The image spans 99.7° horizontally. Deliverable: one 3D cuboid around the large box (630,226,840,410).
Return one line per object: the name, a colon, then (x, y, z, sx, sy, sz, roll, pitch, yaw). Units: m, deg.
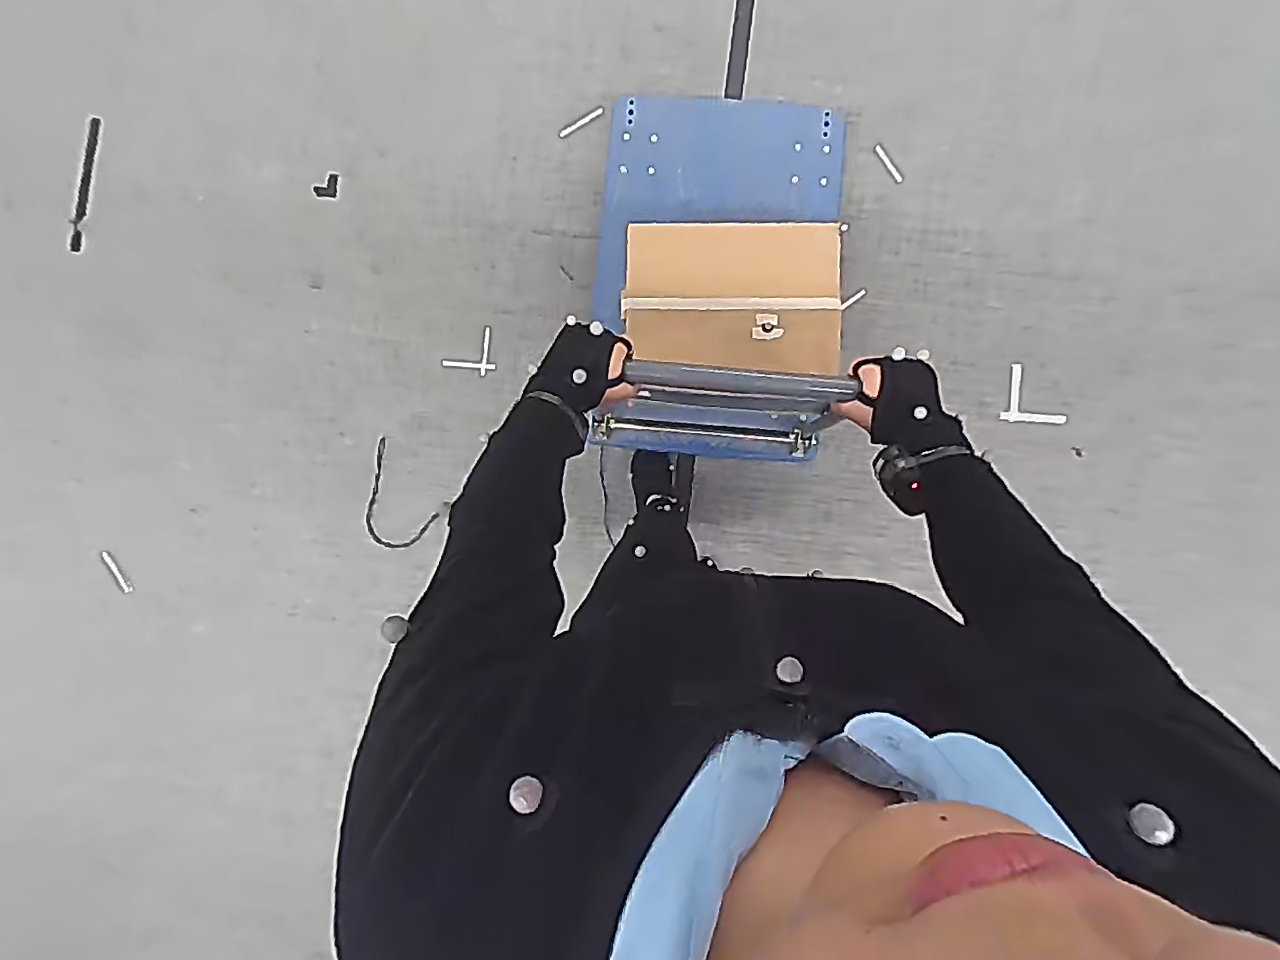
large box: (0.184, -0.329, 1.182, 0.408, 0.320, 0.320, 1, 90, 2)
